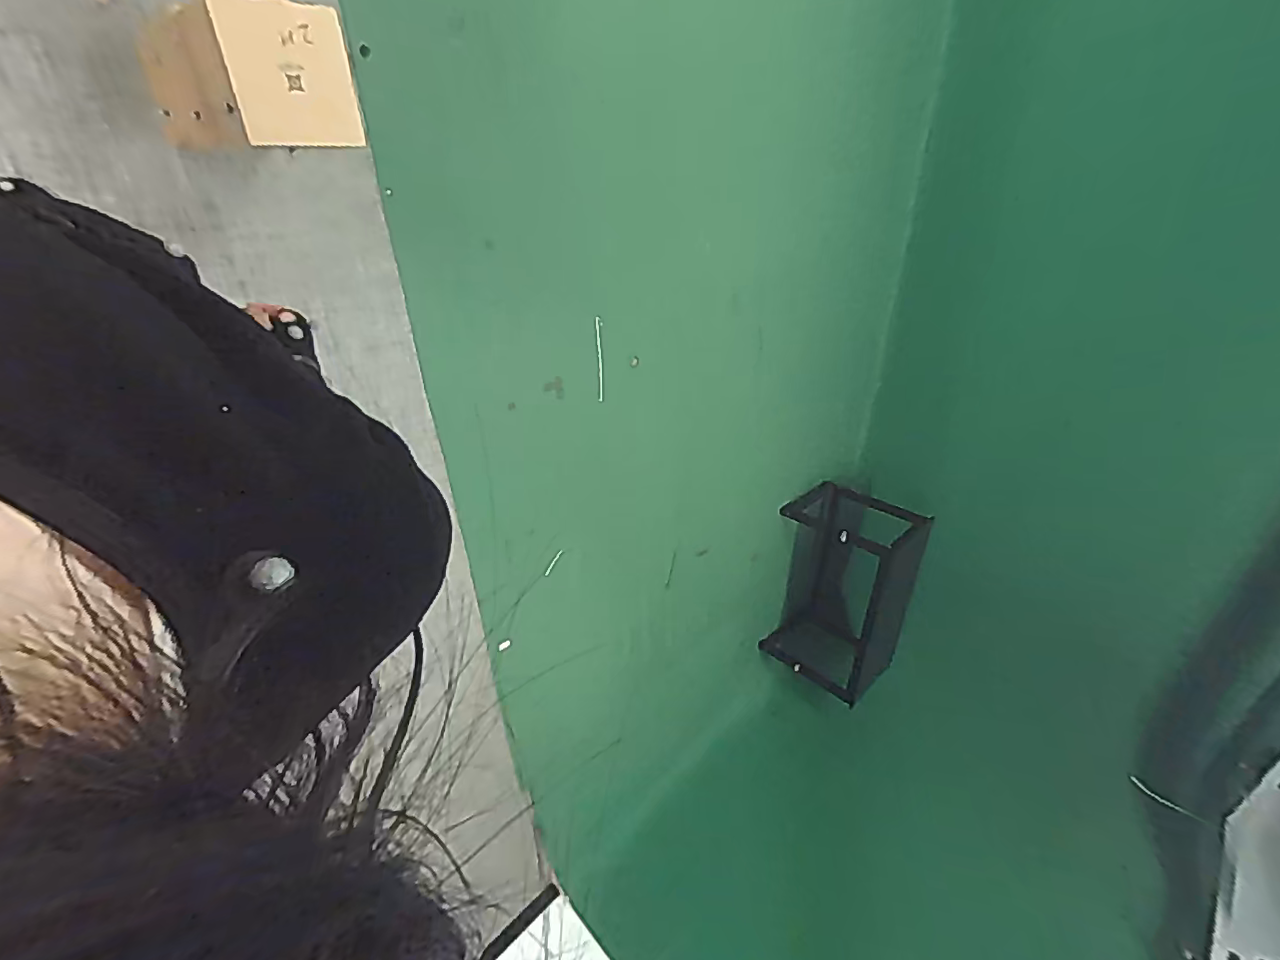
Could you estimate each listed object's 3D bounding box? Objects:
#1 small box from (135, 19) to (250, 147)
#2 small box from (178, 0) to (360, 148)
[{"bbox_3d":[-0.804,-0.726,1.011,0.179,0.176,0.168,-25,127,-39],"label":"small box"},{"bbox_3d":[-0.562,-0.611,0.825,0.168,0.176,0.179,-27,129,-37],"label":"small box"}]
